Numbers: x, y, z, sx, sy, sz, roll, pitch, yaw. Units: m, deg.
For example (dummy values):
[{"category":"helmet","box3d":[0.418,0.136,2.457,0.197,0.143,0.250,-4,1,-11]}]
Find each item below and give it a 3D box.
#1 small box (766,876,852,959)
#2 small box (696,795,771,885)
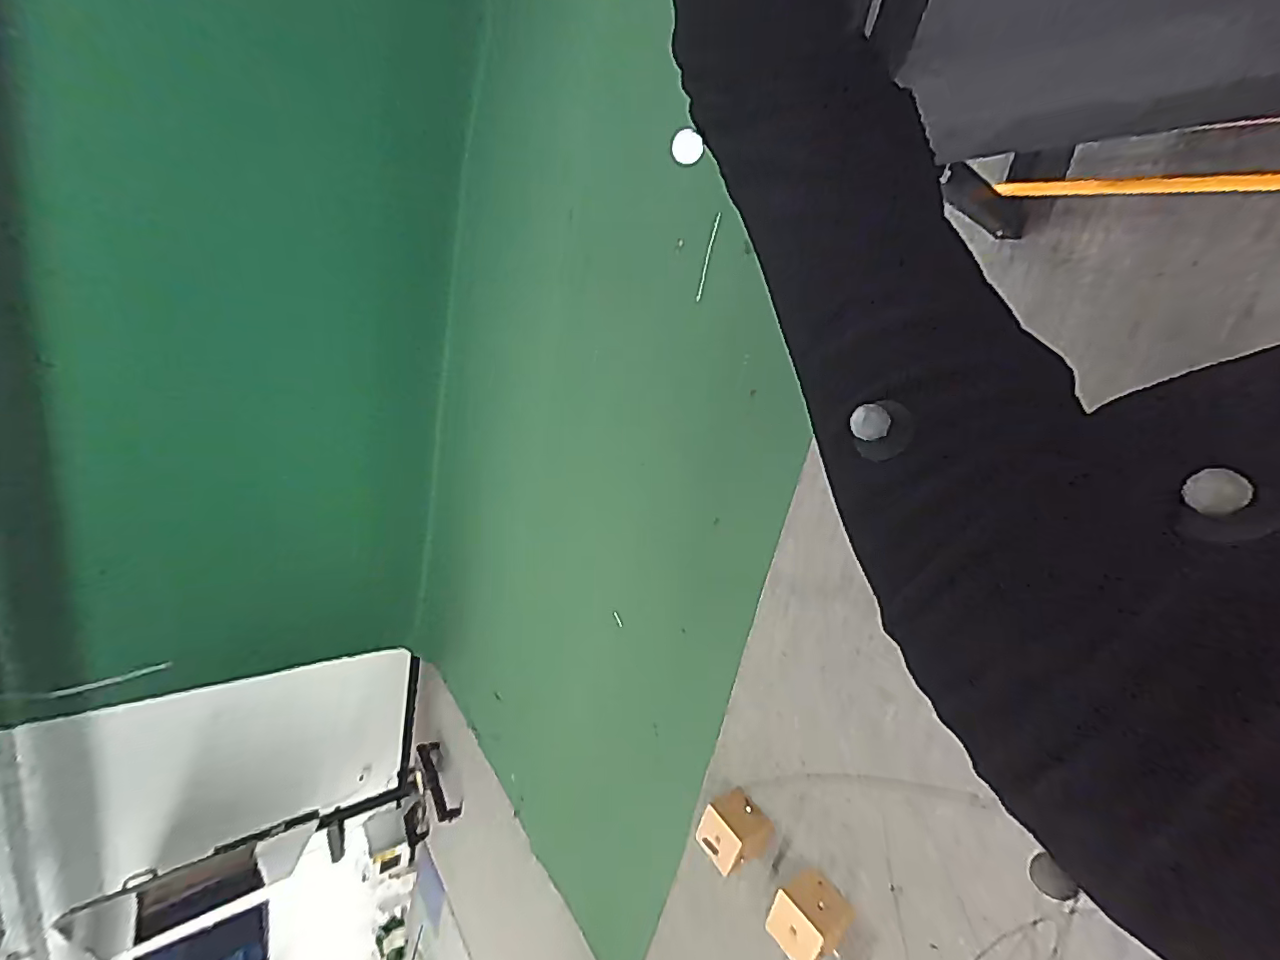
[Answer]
[{"category":"small box","box3d":[0.522,1.372,1.656,0.168,0.176,0.179,30,114,46]},{"category":"small box","box3d":[0.329,1.250,1.888,0.168,0.176,0.179,35,116,44]}]
